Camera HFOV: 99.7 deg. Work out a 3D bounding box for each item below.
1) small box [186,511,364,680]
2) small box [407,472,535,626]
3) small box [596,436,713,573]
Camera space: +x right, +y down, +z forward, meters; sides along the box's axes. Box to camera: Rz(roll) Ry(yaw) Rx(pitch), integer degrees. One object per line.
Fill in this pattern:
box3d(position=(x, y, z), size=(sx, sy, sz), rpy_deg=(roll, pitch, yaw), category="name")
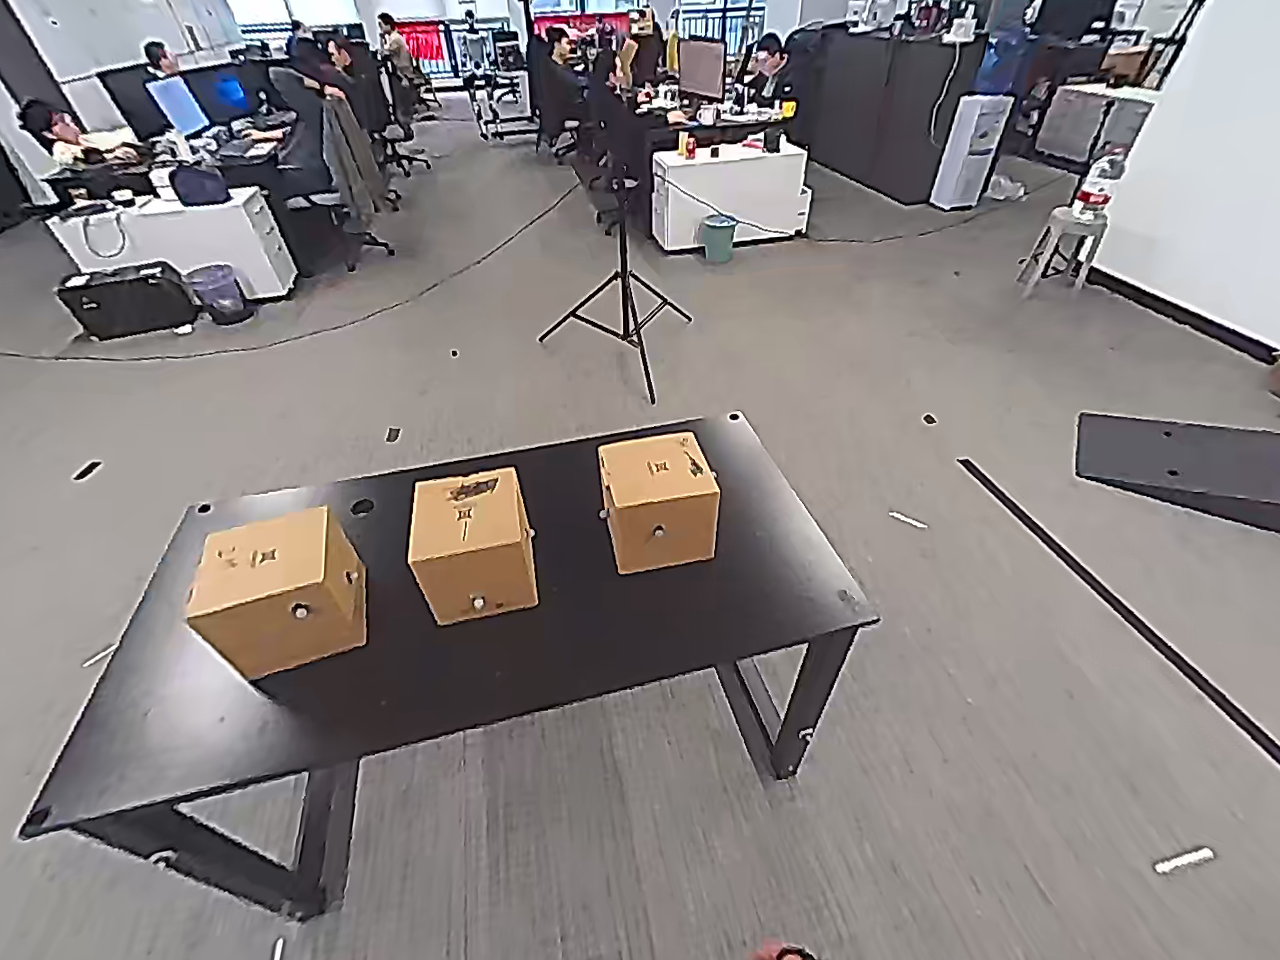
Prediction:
box3d(position=(-0.551, 0.181, 0.849), size=(0.179, 0.176, 0.168), rpy_deg=(-16, 44, -14), category="small box")
box3d(position=(-0.276, 0.115, 0.911), size=(0.168, 0.176, 0.179), rpy_deg=(-10, 44, -8), category="small box")
box3d(position=(0.025, 0.047, 0.973), size=(0.179, 0.176, 0.168), rpy_deg=(-10, 43, -7), category="small box")
